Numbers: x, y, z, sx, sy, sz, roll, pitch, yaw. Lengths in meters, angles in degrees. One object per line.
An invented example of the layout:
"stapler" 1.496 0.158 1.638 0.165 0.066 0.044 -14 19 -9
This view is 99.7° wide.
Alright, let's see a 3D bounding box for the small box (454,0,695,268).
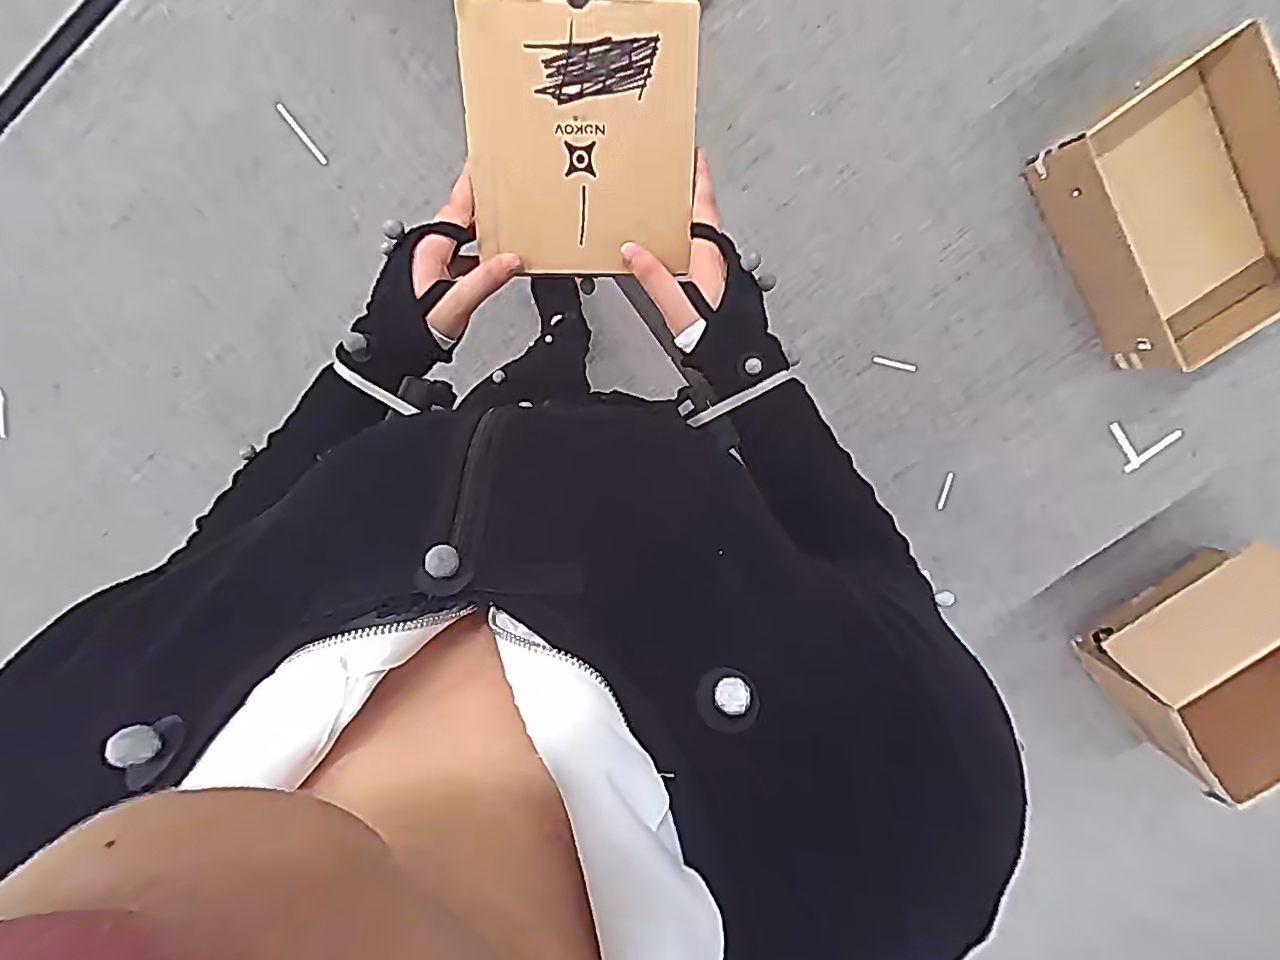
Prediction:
"small box" -0.049 -0.280 0.464 0.168 0.176 0.179 1 111 -2
